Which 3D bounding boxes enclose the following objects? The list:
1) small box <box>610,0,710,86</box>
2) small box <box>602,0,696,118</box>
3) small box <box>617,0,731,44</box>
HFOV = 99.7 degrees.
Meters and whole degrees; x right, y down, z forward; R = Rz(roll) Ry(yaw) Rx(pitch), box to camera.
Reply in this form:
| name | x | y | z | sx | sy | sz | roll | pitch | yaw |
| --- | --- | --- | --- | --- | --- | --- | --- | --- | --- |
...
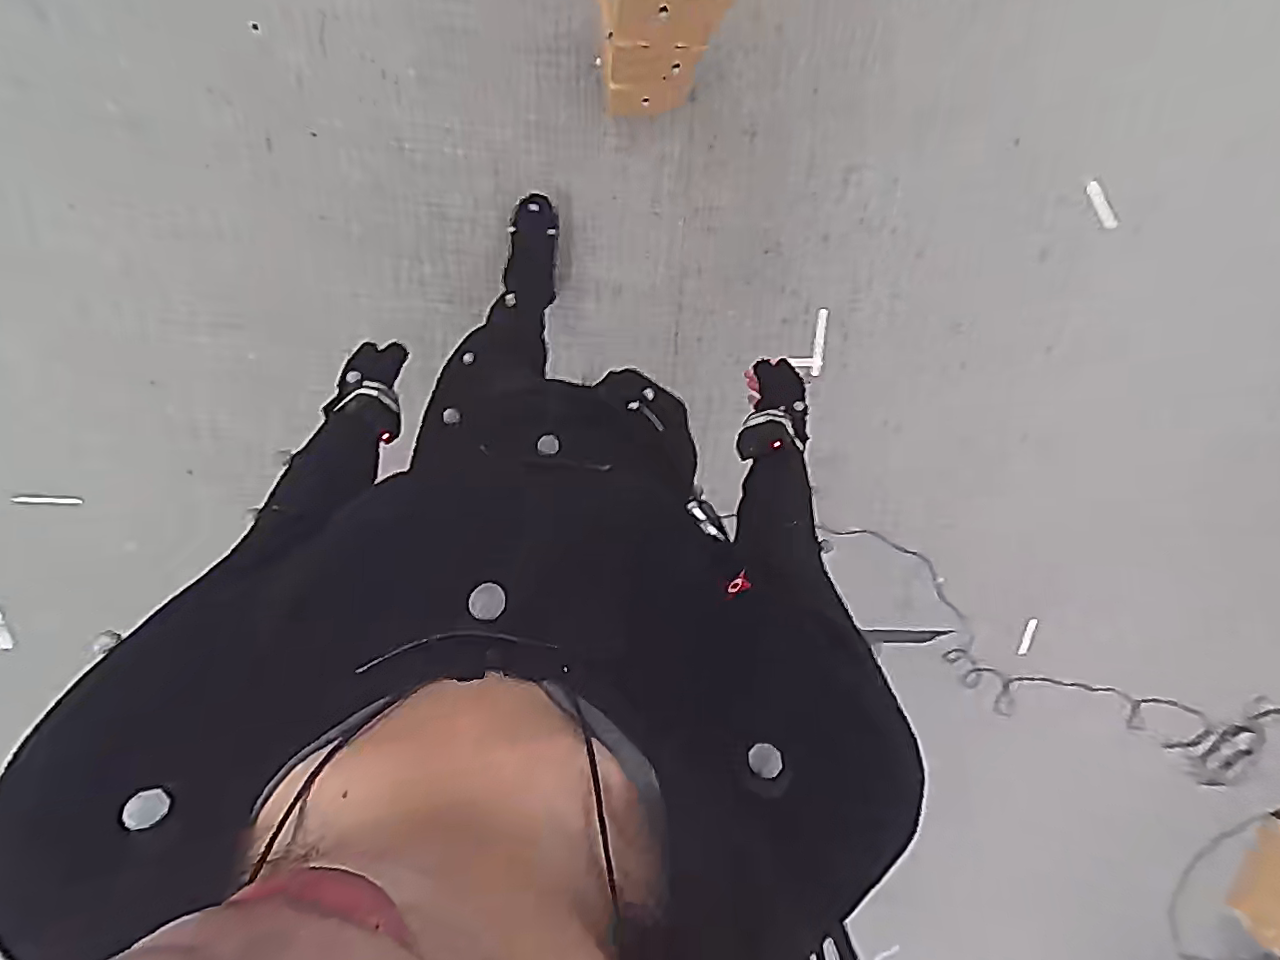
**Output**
| name | x | y | z | sx | sy | sz | roll | pitch | yaw |
| --- | --- | --- | --- | --- | --- | --- | --- | --- | --- |
| small box | 0.032 | -0.847 | 0.983 | 0.168 | 0.176 | 0.179 | -3 | 108 | -6 |
| small box | 0.014 | -0.886 | 1.140 | 0.179 | 0.176 | 0.168 | -6 | 109 | -2 |
| small box | 0.053 | -0.802 | 0.827 | 0.179 | 0.176 | 0.168 | -2 | 109 | -5 |
